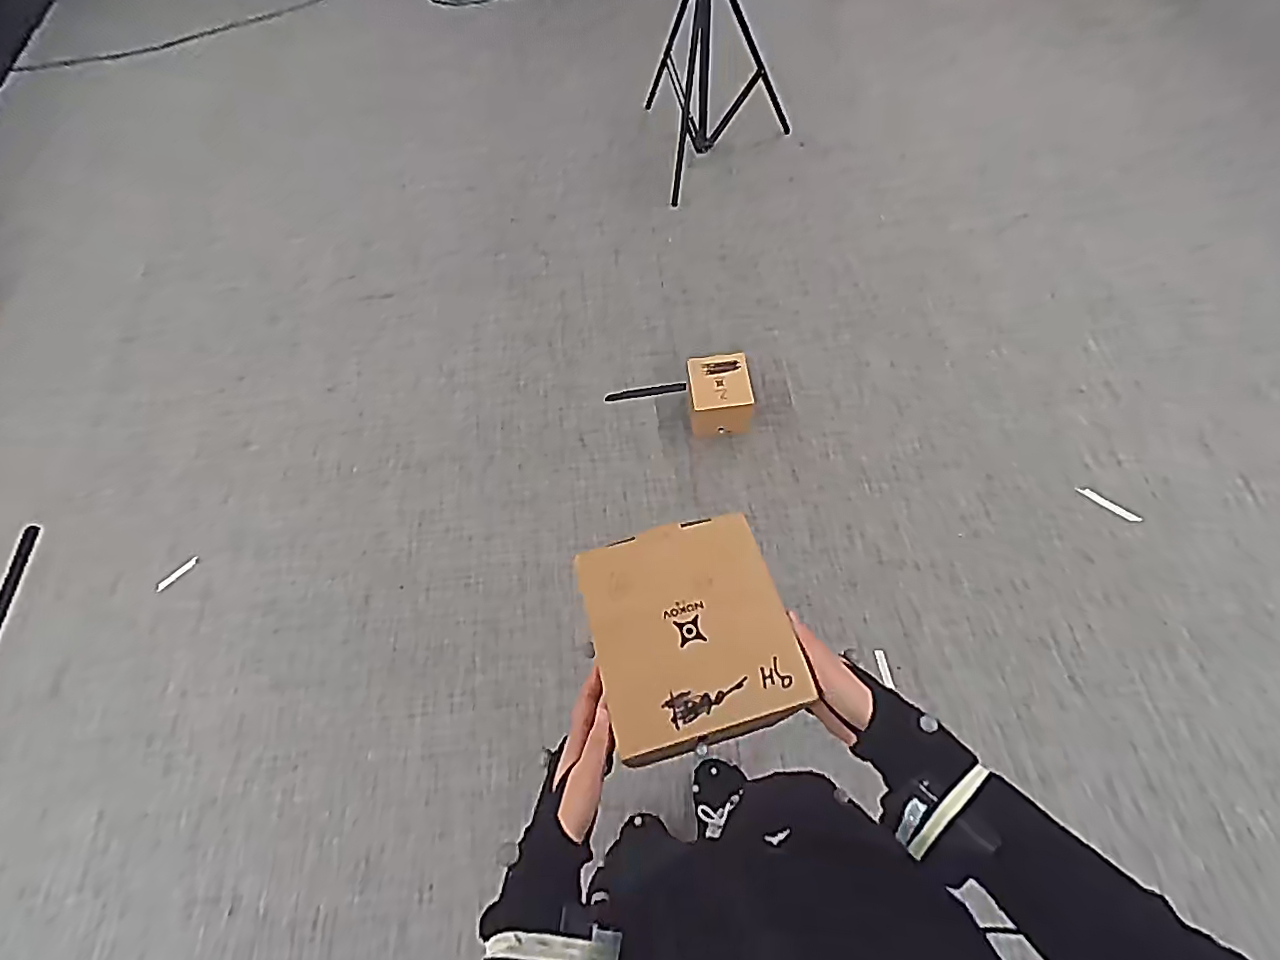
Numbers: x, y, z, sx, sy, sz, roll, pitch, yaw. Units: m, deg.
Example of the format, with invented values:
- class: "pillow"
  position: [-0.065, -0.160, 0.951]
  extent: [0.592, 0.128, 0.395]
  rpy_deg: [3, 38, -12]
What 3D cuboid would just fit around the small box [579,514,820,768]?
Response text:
- class: "small box"
  position: [0.044, 0.161, 0.525]
  extent: [0.168, 0.176, 0.179]
  rpy_deg: [-14, 60, -6]
